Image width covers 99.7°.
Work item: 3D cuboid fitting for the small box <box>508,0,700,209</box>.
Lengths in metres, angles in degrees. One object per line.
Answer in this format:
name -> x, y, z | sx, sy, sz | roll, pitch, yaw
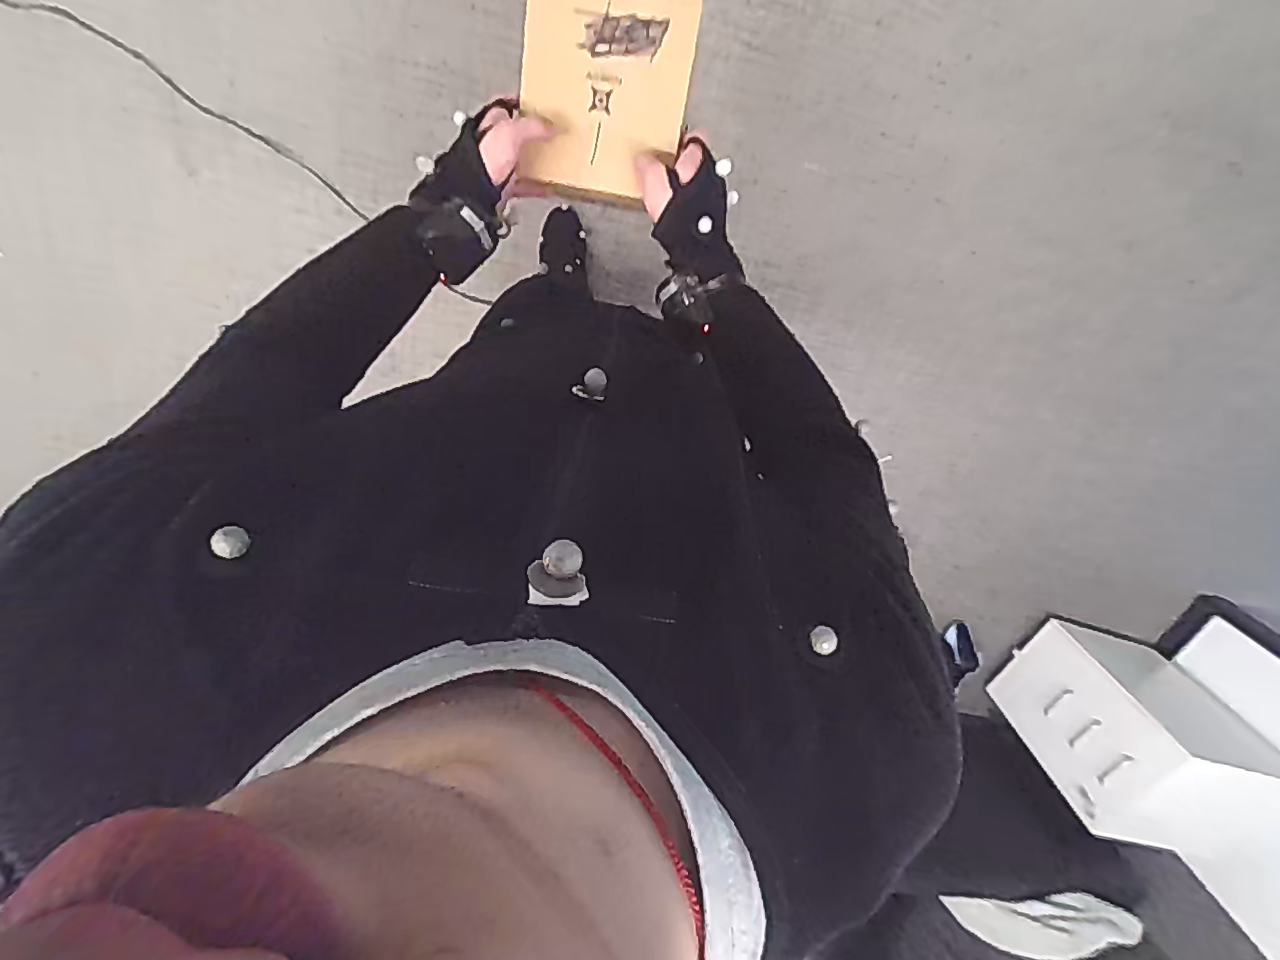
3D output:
small box -> -0.033, -0.413, 0.592 | 0.168, 0.176, 0.179 | 11, 113, 2
